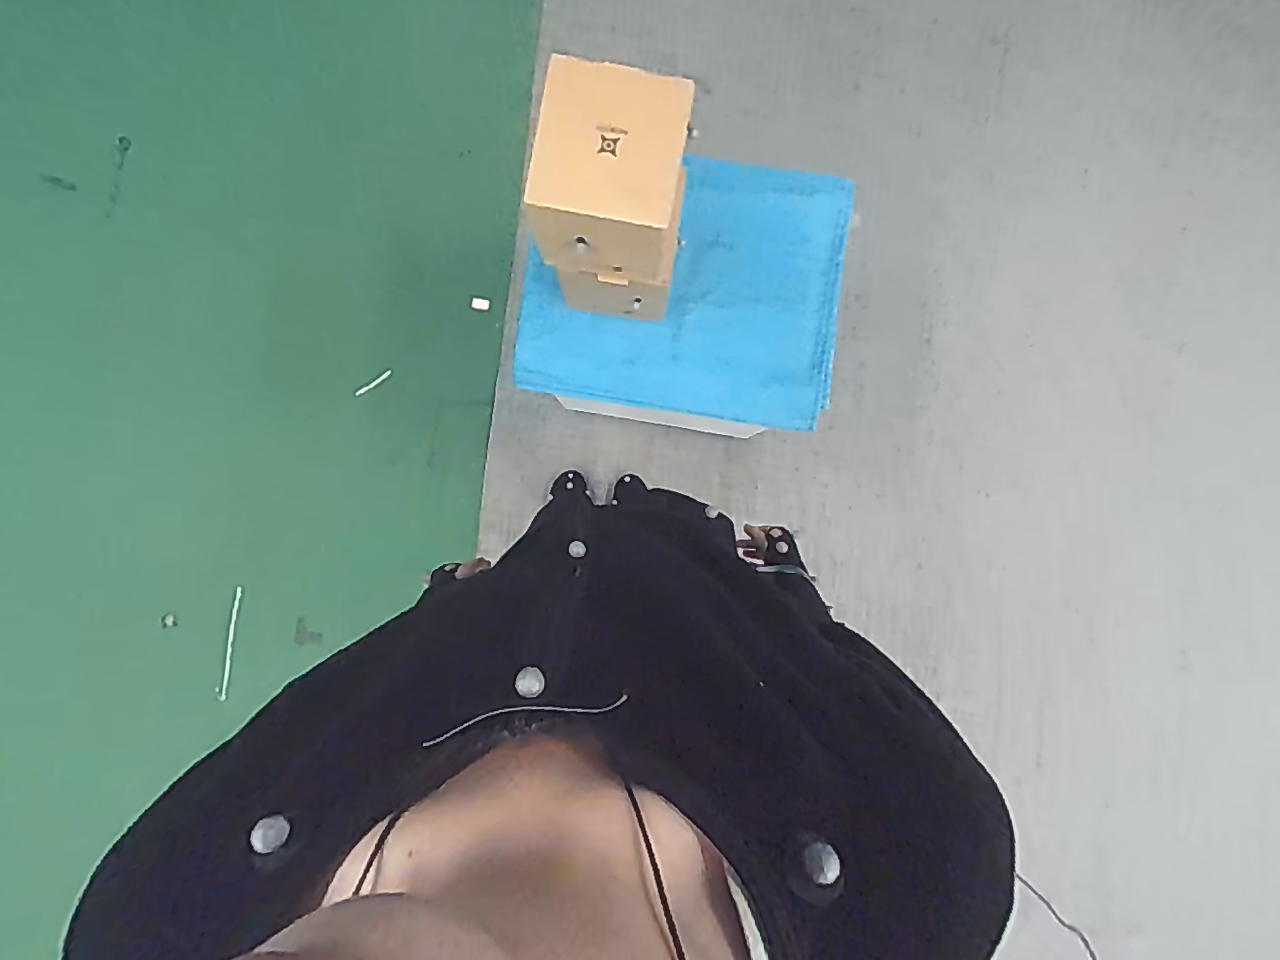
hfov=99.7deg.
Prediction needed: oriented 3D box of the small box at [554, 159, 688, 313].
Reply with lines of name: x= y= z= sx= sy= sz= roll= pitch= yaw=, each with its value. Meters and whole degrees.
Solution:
small box: x=-0.027 y=-0.374 z=0.831 sx=0.168 sy=0.176 sz=0.179 roll=9 pitch=89 yaw=-2

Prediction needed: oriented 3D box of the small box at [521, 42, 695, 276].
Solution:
small box: x=-0.036 y=-0.377 z=0.669 sx=0.168 sy=0.176 sz=0.179 roll=11 pitch=88 yaw=-2
